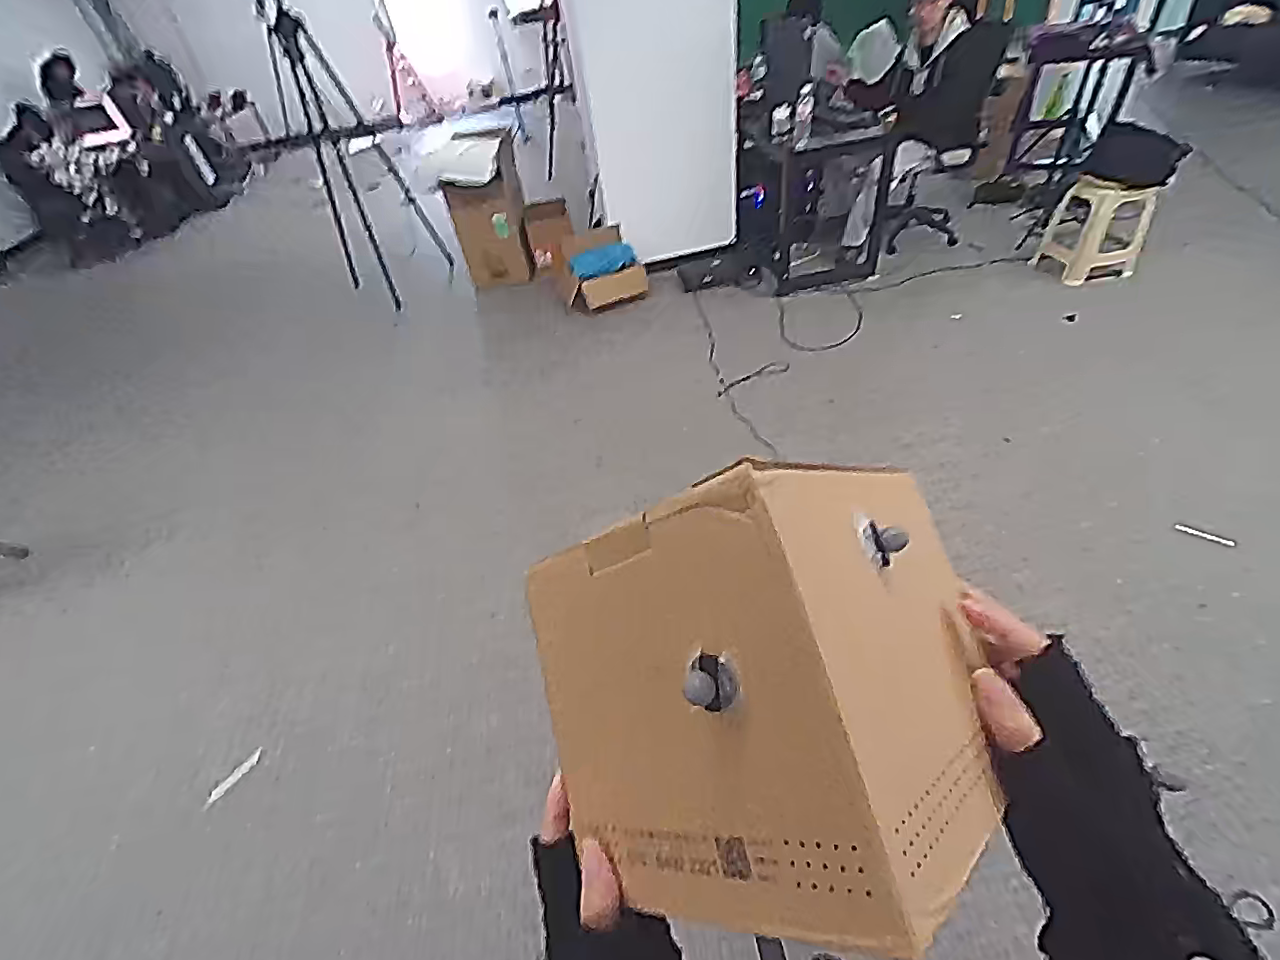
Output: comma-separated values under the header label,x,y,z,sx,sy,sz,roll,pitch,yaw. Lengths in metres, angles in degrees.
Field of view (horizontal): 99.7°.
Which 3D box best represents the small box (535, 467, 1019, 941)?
label,x,y,z,sx,sy,sz,roll,pitch,yaw
small box,0.072,0.104,0.297,0.168,0.179,0.176,-29,69,39
